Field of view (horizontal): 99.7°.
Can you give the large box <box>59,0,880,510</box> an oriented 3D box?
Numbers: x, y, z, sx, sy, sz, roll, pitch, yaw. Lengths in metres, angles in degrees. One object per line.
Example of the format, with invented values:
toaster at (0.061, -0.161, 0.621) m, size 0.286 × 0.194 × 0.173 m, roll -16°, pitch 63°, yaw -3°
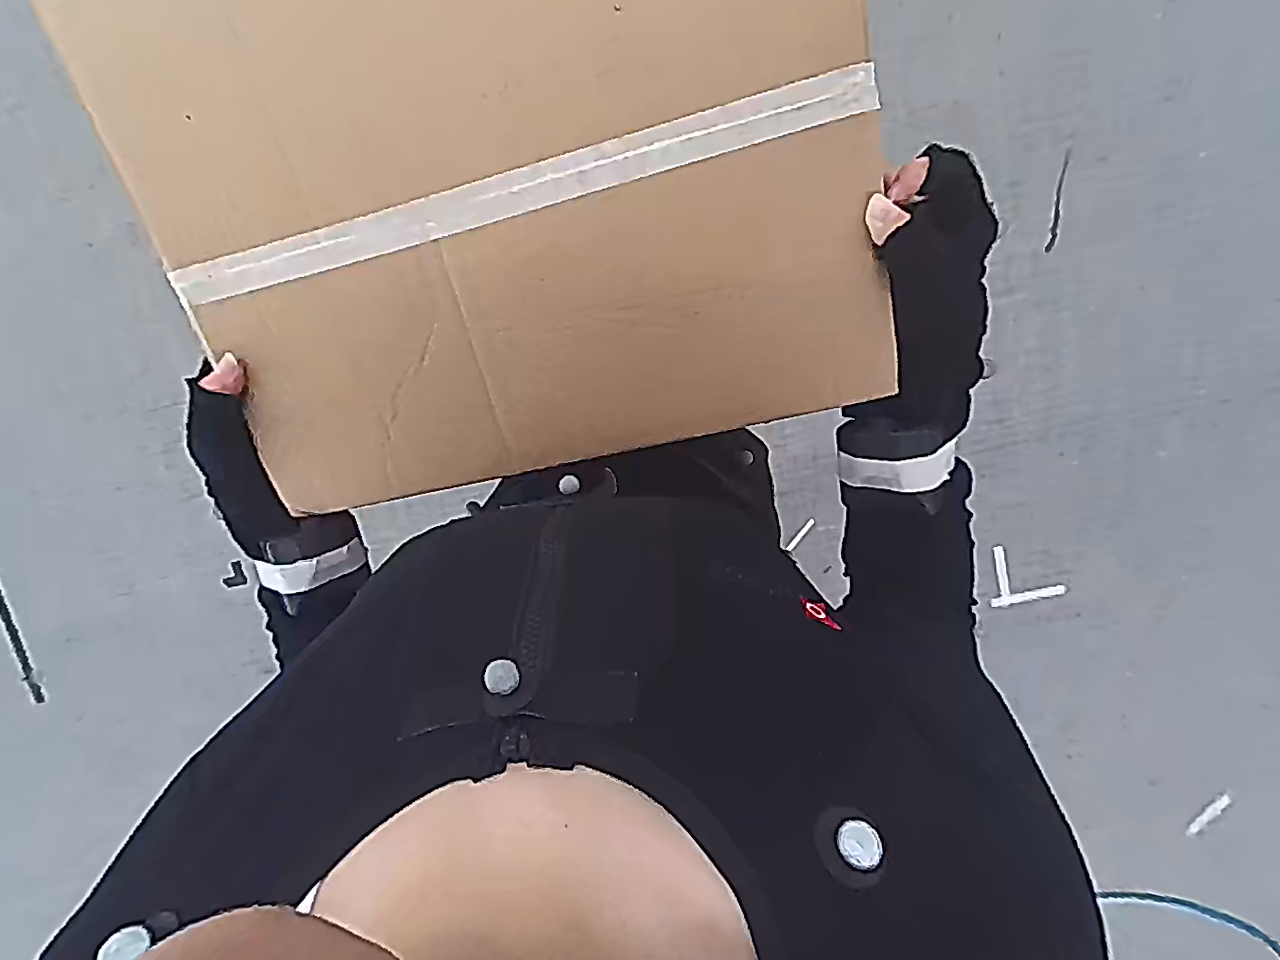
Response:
large box at (-0.070, -0.213, 0.443) m, size 0.408 × 0.320 × 0.320 m, roll -12°, pitch 109°, yaw 9°
